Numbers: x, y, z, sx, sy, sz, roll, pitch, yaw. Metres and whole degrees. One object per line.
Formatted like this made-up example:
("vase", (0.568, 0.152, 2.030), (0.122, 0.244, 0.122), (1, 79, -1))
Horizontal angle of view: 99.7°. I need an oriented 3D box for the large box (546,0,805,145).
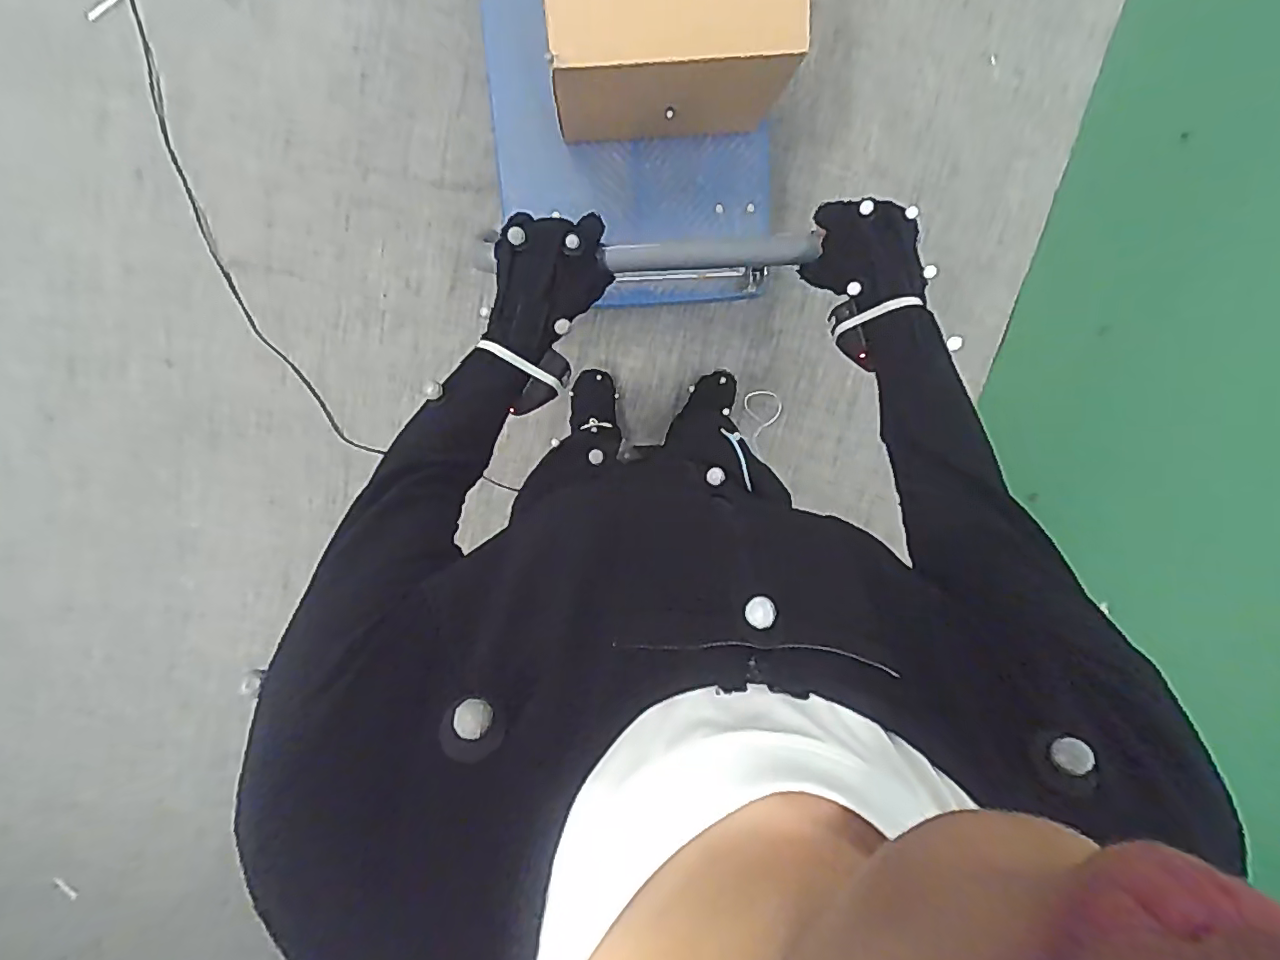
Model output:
("large box", (0.045, -0.833, 0.961), (0.408, 0.320, 0.320), (-6, 103, -1))
